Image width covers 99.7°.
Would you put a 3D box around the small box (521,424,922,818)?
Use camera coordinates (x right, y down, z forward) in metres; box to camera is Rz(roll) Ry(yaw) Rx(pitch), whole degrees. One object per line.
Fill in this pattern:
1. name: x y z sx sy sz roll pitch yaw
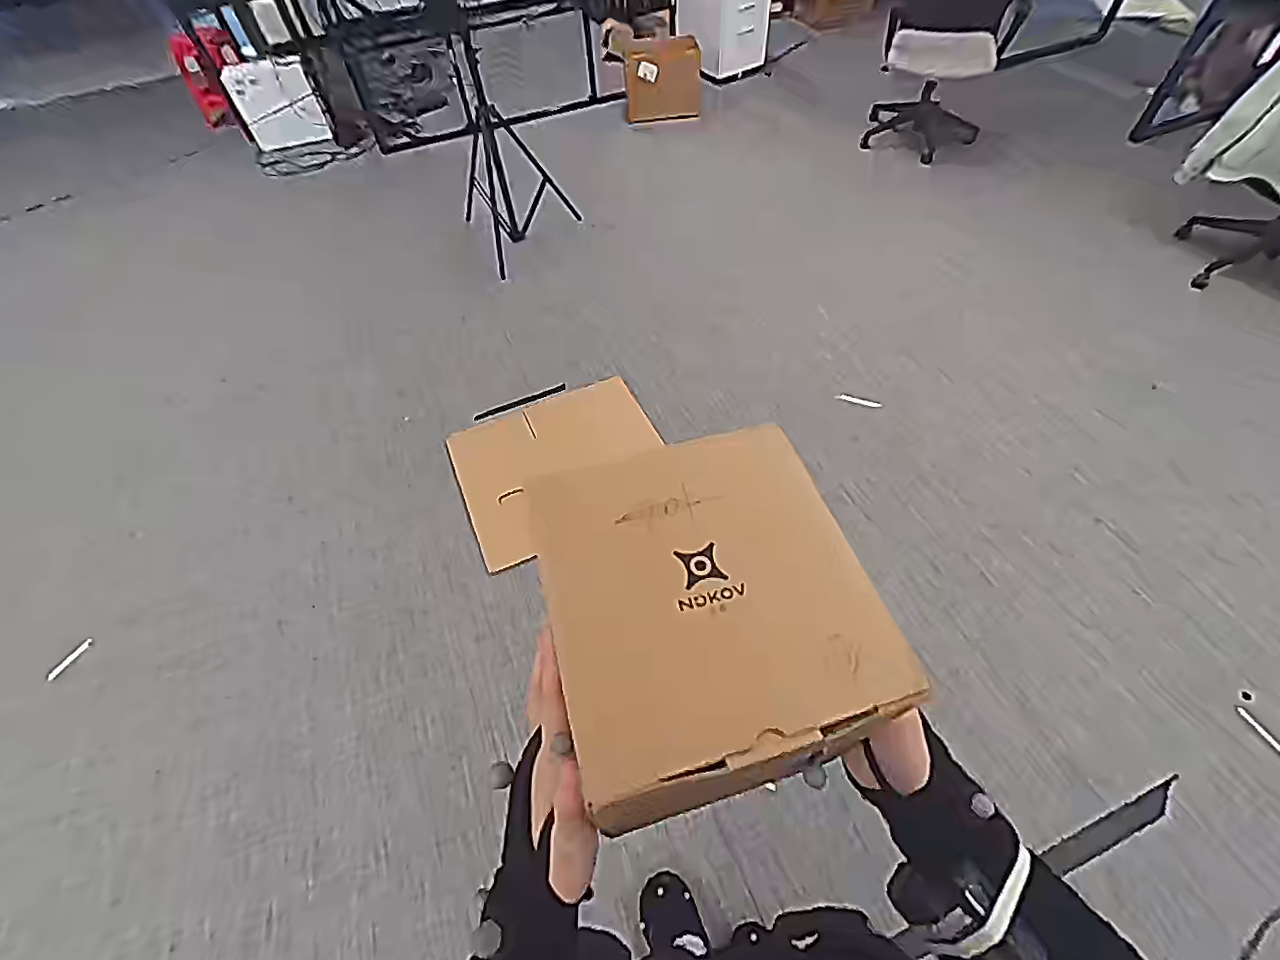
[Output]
1. small box: 0.030 0.096 0.347 0.168 0.176 0.179 -13 54 -11
